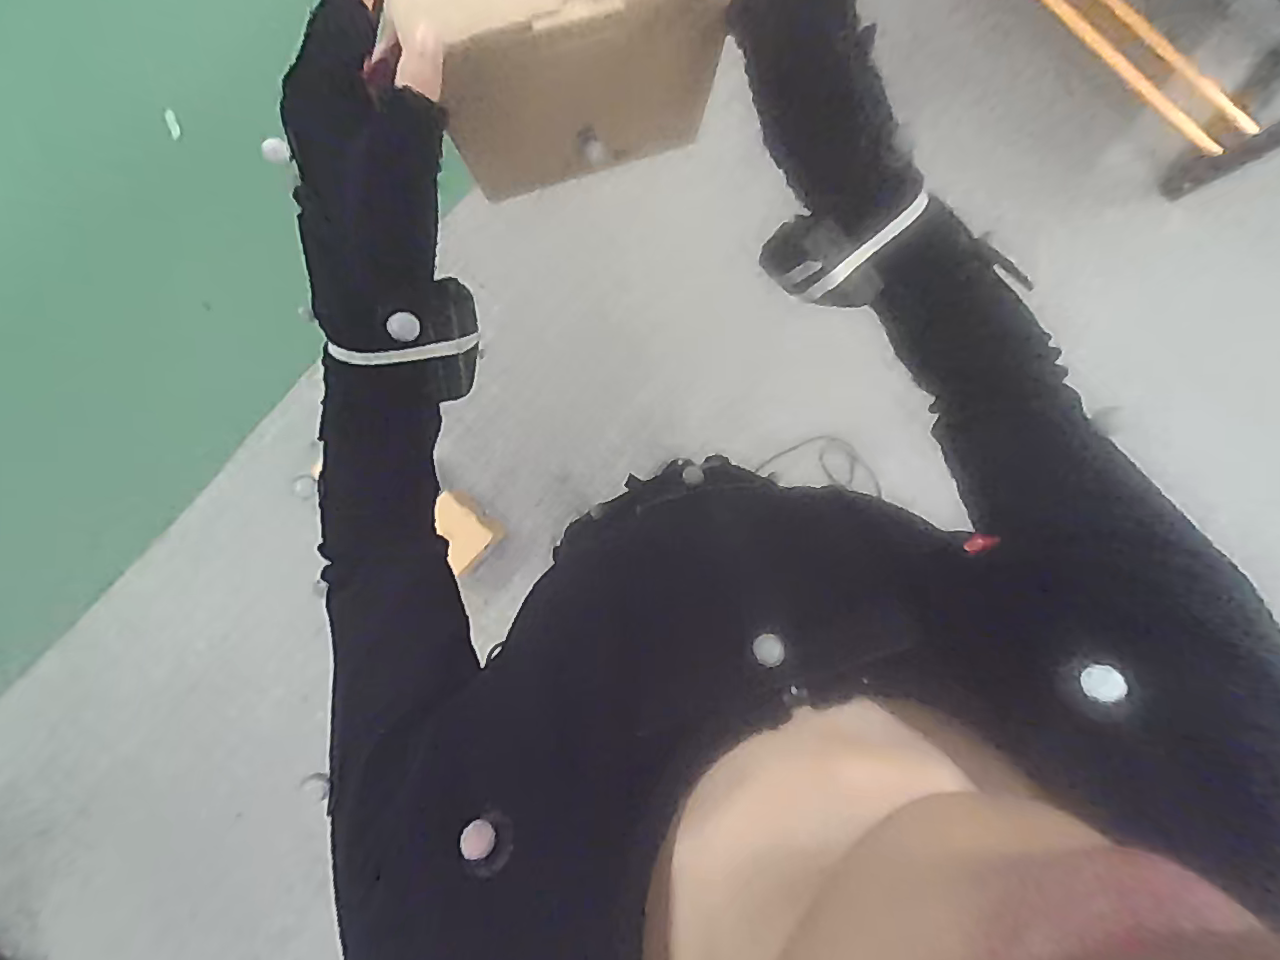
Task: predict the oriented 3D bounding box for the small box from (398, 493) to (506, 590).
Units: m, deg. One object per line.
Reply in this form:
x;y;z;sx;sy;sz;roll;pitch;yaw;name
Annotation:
-0.467;0.150;1.377;0.168;0.176;0.179;43;87;-1;small box
